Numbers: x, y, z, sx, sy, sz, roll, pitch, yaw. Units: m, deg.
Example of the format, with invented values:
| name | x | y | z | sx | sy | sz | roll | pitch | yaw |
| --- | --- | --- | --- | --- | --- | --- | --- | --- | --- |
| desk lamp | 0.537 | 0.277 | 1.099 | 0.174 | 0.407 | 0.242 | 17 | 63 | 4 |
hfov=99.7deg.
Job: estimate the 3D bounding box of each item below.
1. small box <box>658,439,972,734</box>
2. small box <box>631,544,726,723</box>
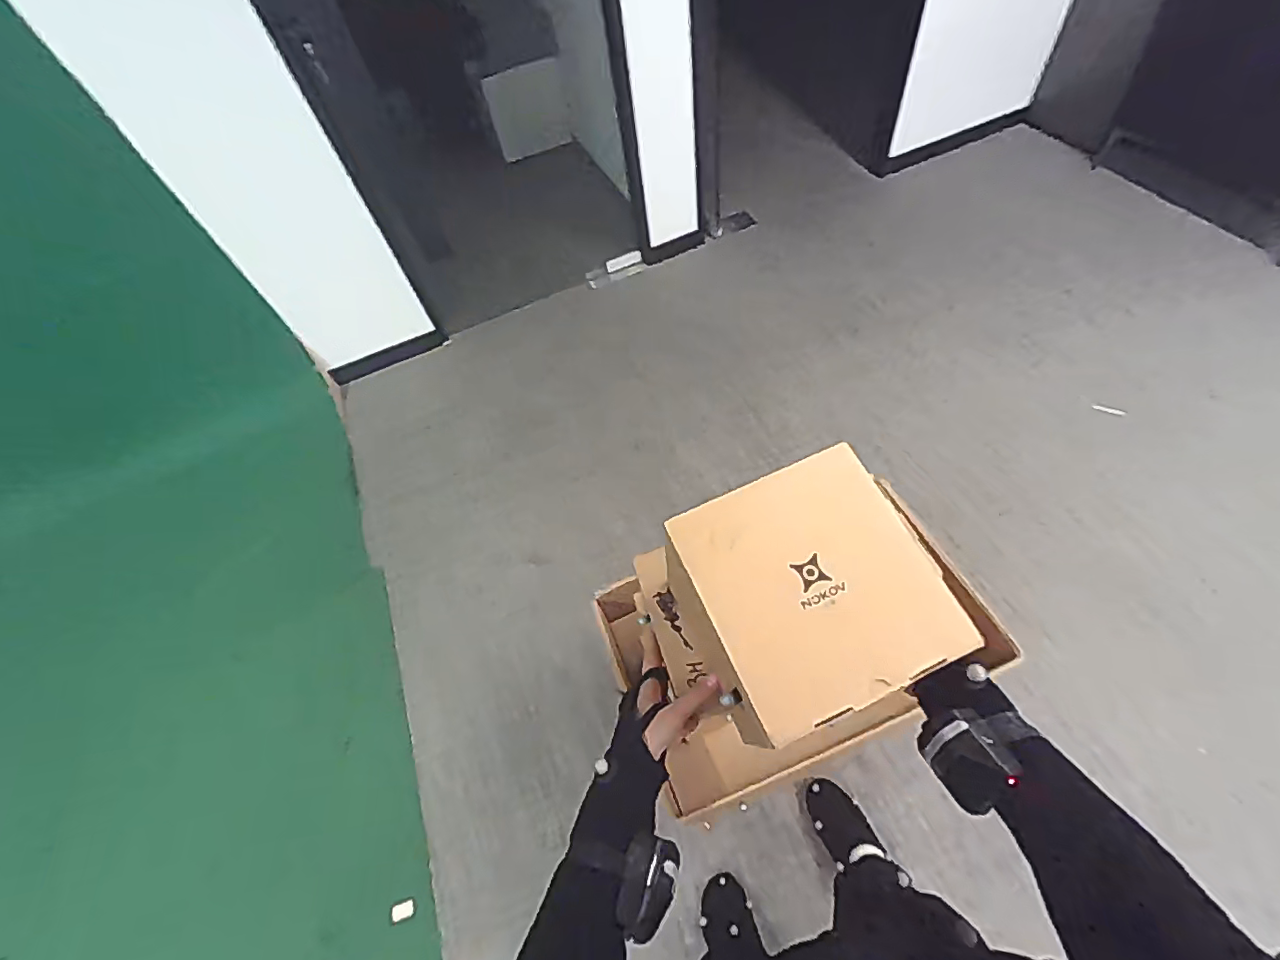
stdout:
| name | x | y | z | sx | sy | sz | roll | pitch | yaw |
| --- | --- | --- | --- | --- | --- | --- | --- | --- | --- |
| small box | 0.124 | 0.100 | 0.464 | 0.168 | 0.176 | 0.179 | -23 | 66 | -6 |
| small box | 0.099 | 0.164 | 0.623 | 0.179 | 0.176 | 0.168 | -17 | 59 | -4 |
